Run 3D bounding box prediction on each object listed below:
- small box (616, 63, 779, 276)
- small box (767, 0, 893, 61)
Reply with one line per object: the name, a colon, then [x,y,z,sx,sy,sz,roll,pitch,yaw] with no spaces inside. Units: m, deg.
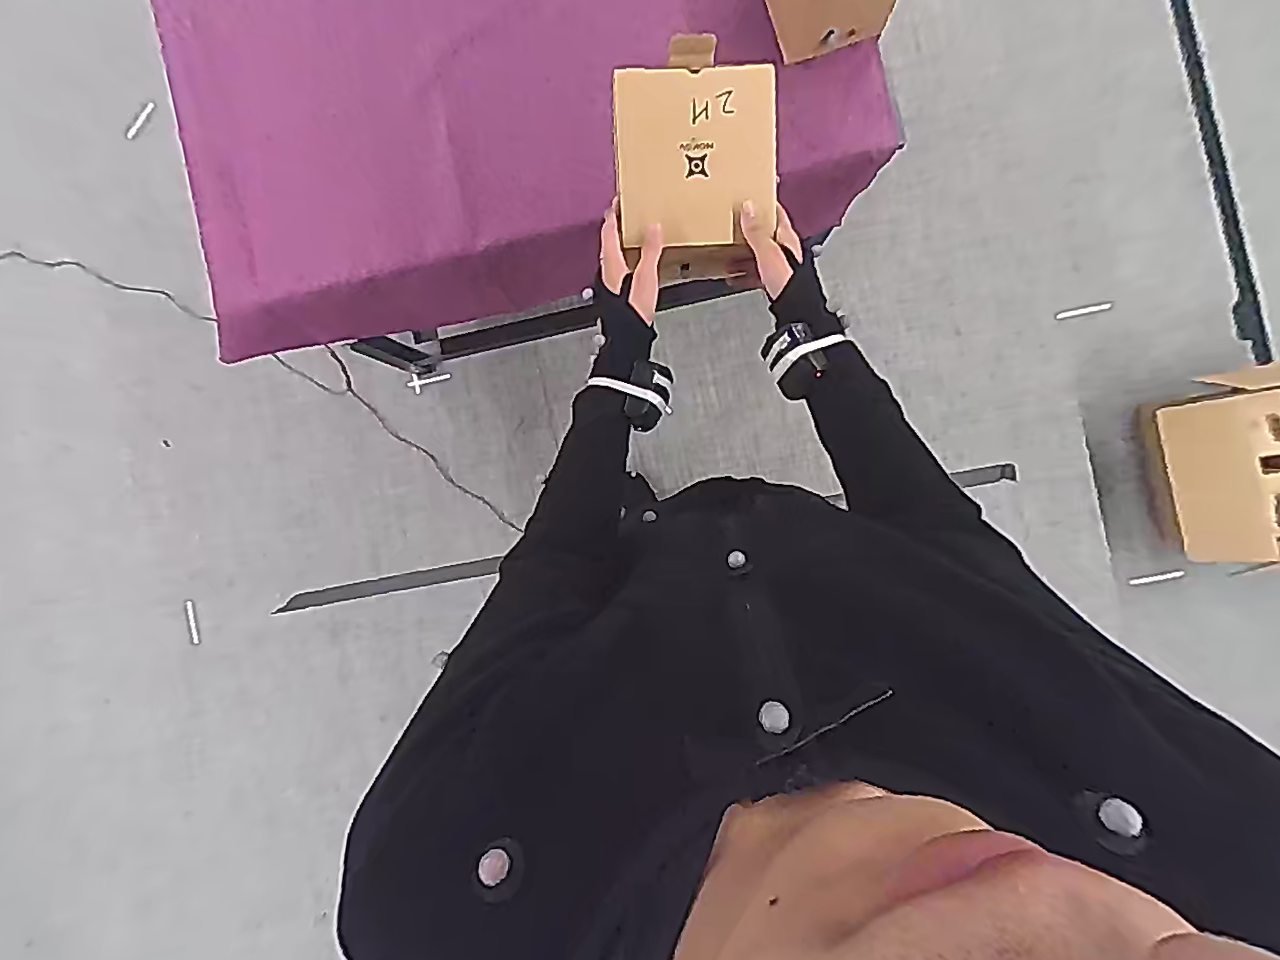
small box: [0.058,-0.343,0.633,0.168,0.176,0.179,-3,98,-3]
small box: [0.283,-0.787,0.804,0.168,0.176,0.179,-16,90,5]
